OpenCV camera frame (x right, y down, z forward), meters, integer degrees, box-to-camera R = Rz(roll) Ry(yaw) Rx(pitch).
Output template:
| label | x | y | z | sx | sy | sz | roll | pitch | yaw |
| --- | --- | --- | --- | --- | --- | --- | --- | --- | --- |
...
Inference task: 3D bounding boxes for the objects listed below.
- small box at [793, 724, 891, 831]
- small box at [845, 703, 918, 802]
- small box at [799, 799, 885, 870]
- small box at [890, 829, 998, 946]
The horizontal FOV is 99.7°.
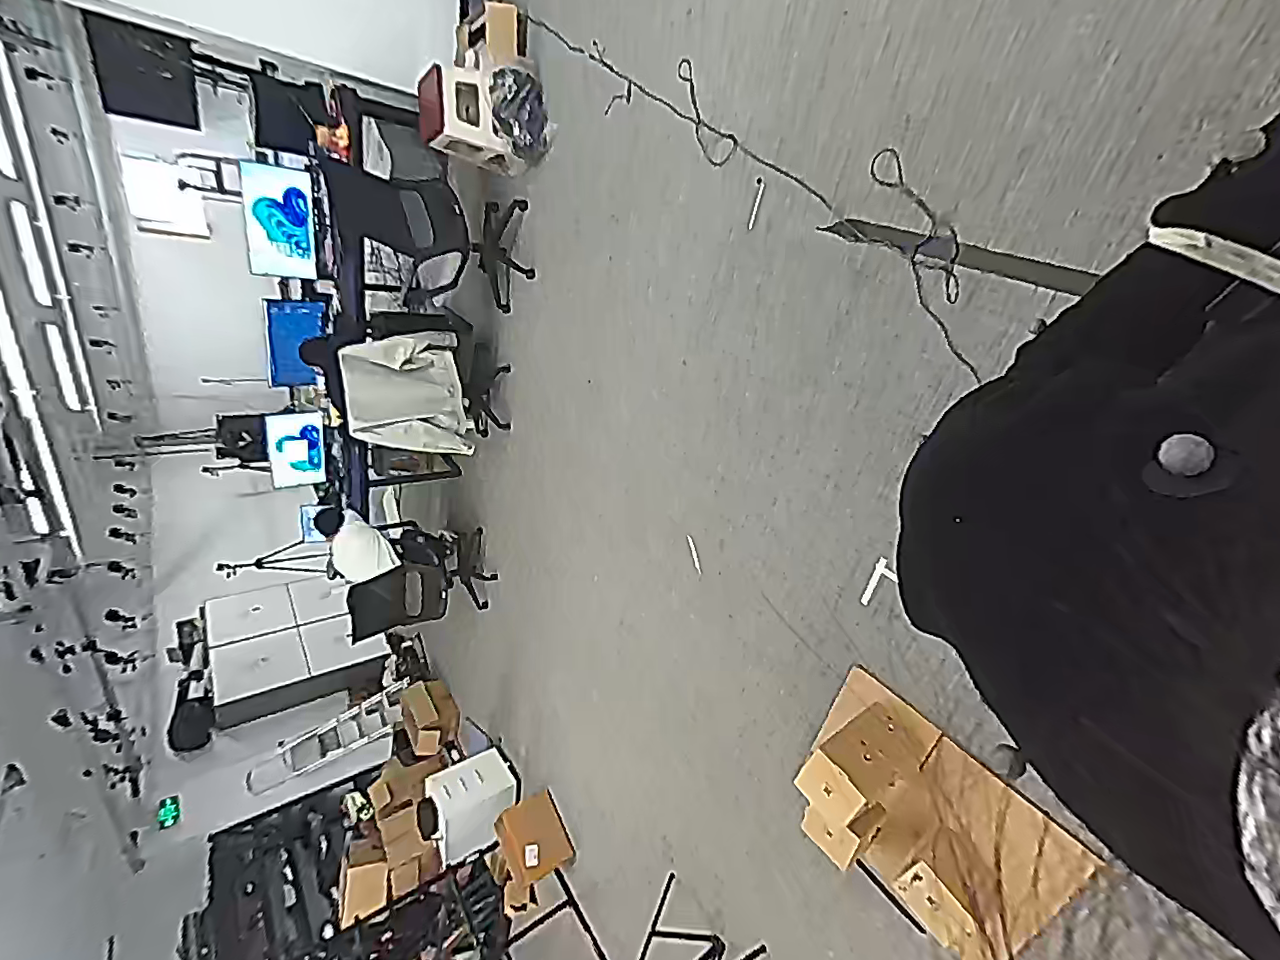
| label | x | y | z | sx | sy | sz | roll | pitch | yaw |
| --- | --- | --- | --- | --- | --- | --- | --- | --- | --- |
| small box | 0.574 | 0.834 | 1.529 | 0.168 | 0.176 | 0.179 | 42 | 127 | 38 |
| small box | 0.701 | 0.815 | 1.629 | 0.168 | 0.176 | 0.179 | 39 | 125 | 40 |
| small box | 0.653 | 1.094 | 1.752 | 0.179 | 0.176 | 0.168 | 34 | 124 | 44 |
| small box | 0.848 | 1.128 | 1.505 | 0.179 | 0.176 | 0.168 | 46 | 130 | 34 |
